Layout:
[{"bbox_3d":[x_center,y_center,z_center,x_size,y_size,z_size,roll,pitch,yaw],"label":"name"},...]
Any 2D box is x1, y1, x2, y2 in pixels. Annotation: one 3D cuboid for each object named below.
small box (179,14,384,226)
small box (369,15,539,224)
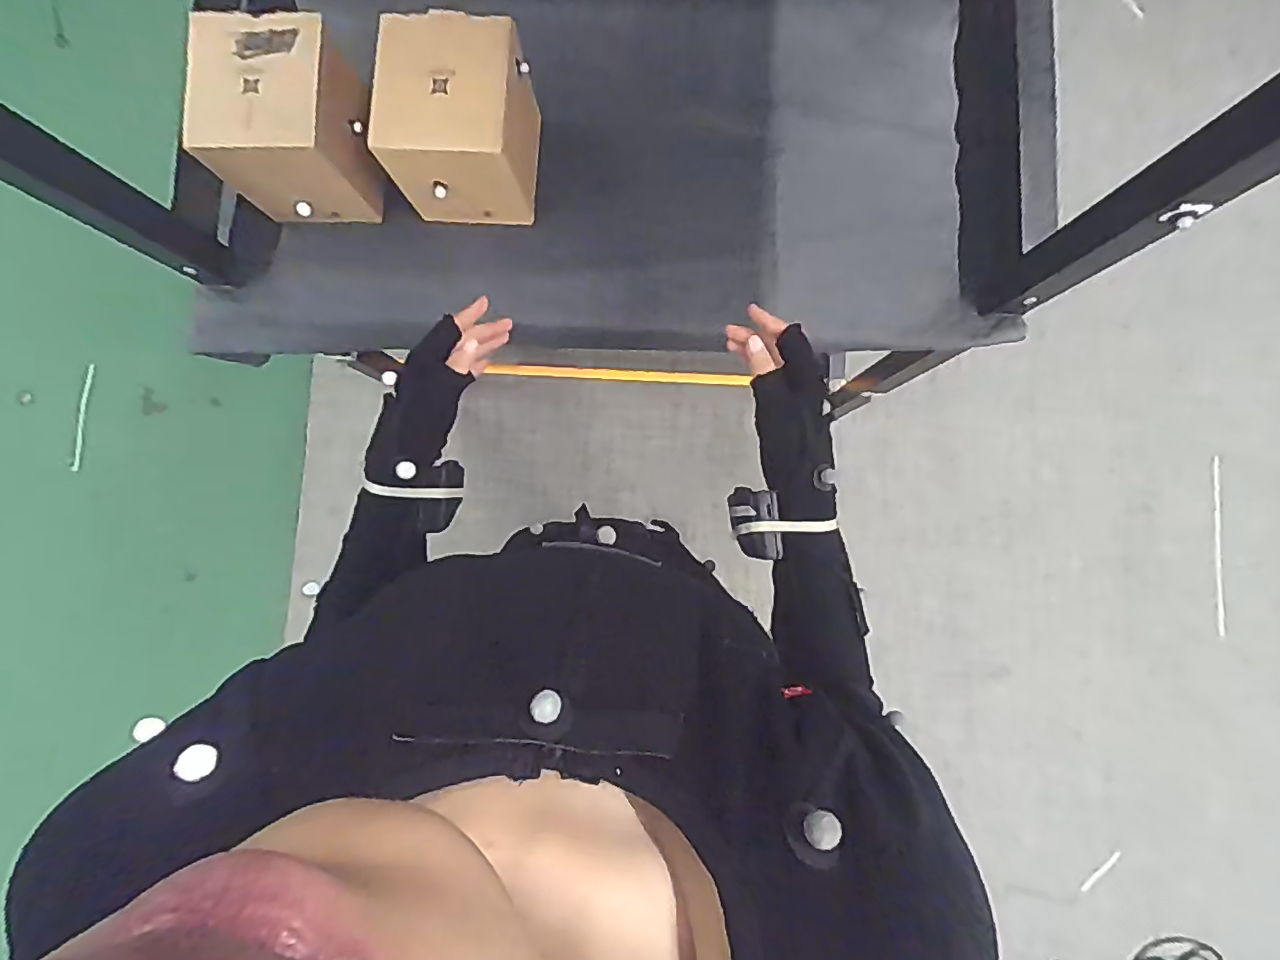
[{"bbox_3d":[-0.465,-0.473,0.731,0.168,0.176,0.179,1,85,1],"label":"small box"},{"bbox_3d":[-0.237,-0.470,0.728,0.168,0.176,0.179,3,85,1],"label":"small box"}]
